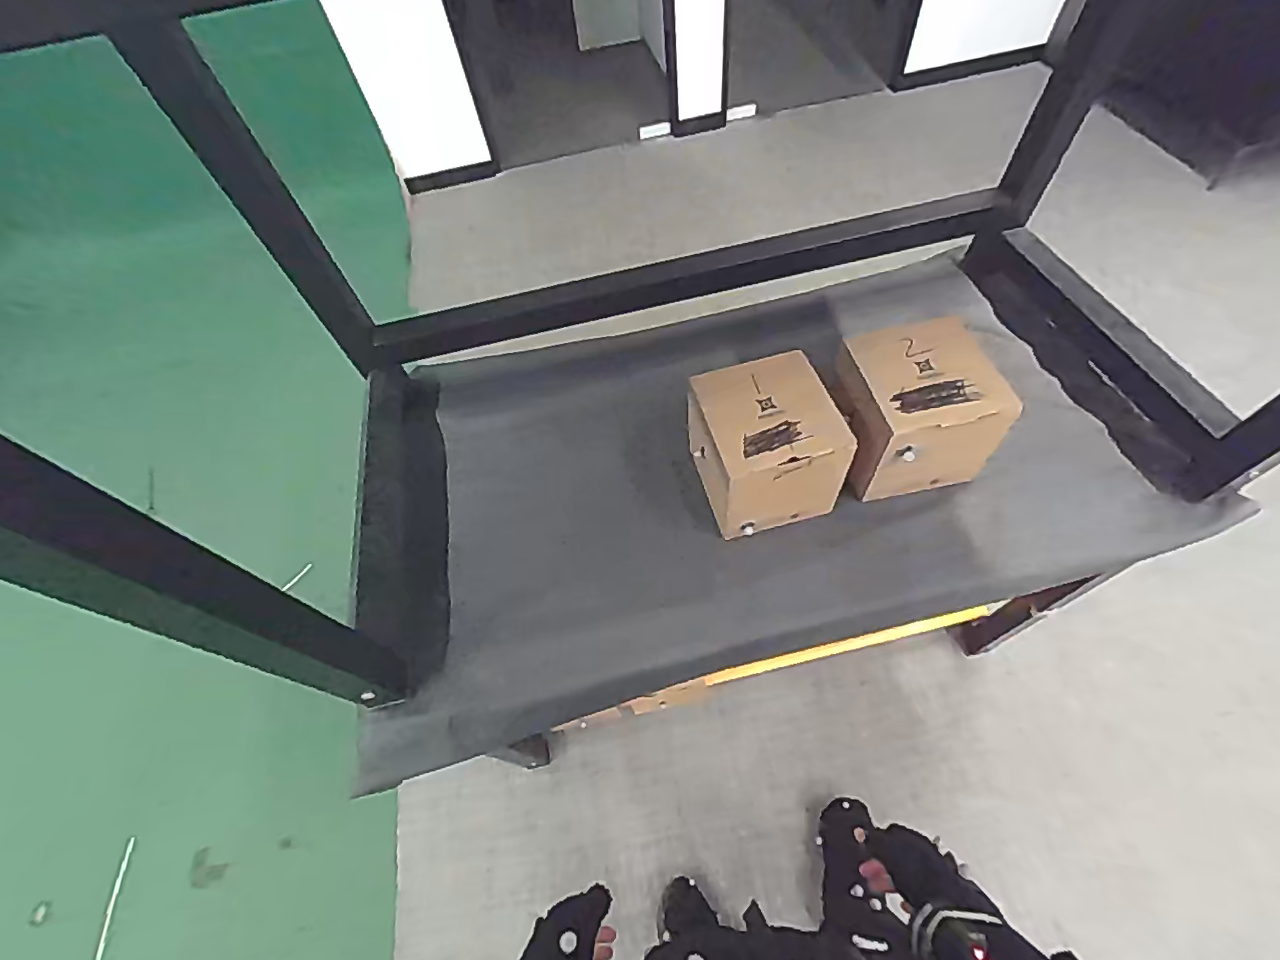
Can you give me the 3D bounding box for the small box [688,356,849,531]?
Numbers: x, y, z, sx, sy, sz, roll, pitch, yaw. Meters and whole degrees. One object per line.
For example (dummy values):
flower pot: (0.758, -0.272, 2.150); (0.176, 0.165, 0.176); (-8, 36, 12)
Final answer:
small box: (0.174, -0.043, 0.779); (0.168, 0.176, 0.179); (-14, 56, -3)
